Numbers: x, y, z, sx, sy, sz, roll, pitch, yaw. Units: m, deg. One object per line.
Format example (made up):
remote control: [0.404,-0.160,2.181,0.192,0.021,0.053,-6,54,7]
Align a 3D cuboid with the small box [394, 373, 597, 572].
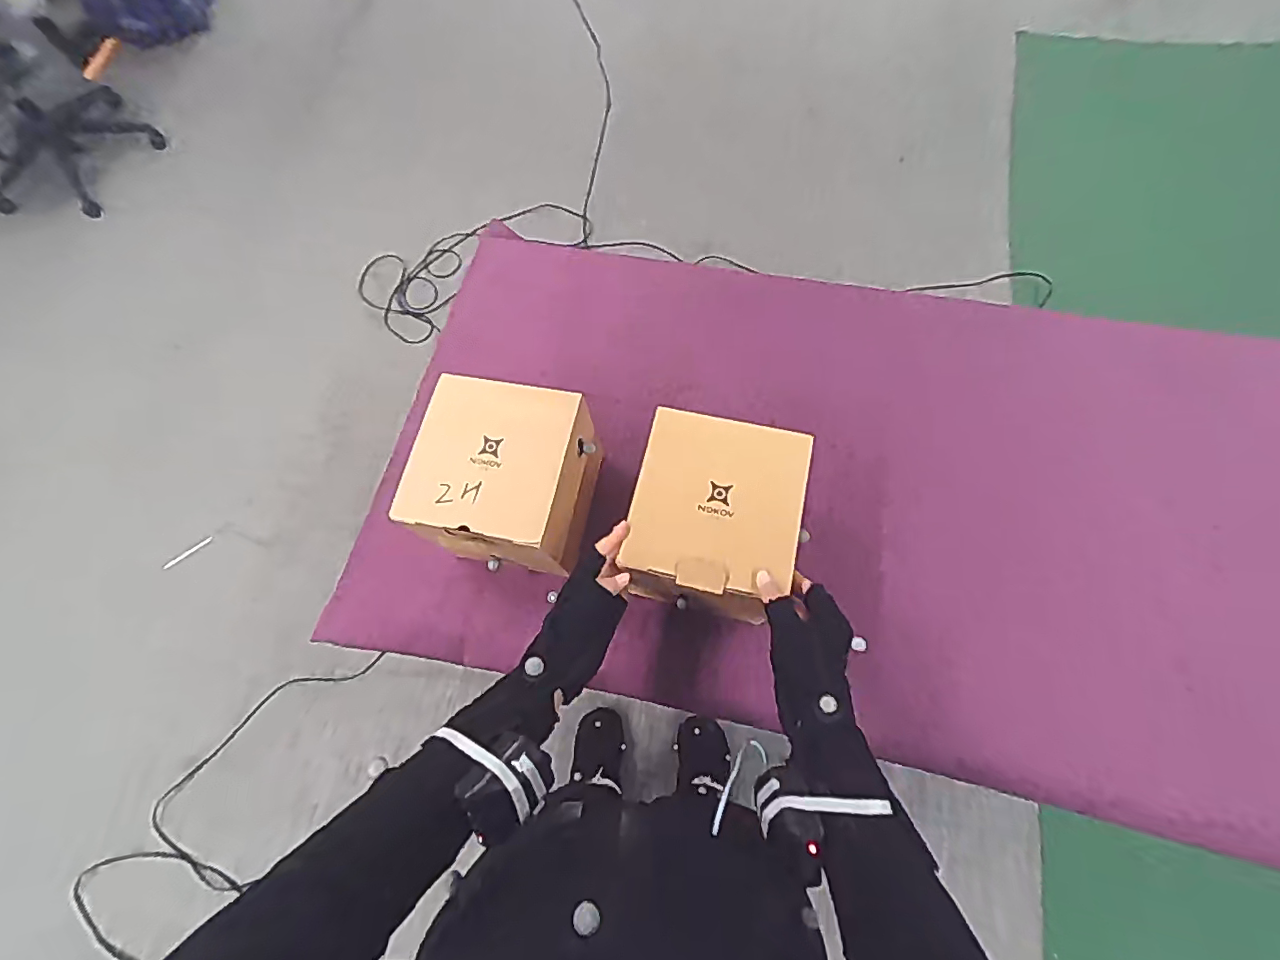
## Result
small box: [-0.154,-0.002,0.648,0.168,0.176,0.179,9,71,8]

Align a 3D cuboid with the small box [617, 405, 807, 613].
small box: [0.079,0.041,0.616,0.168,0.176,0.179,12,72,8]
